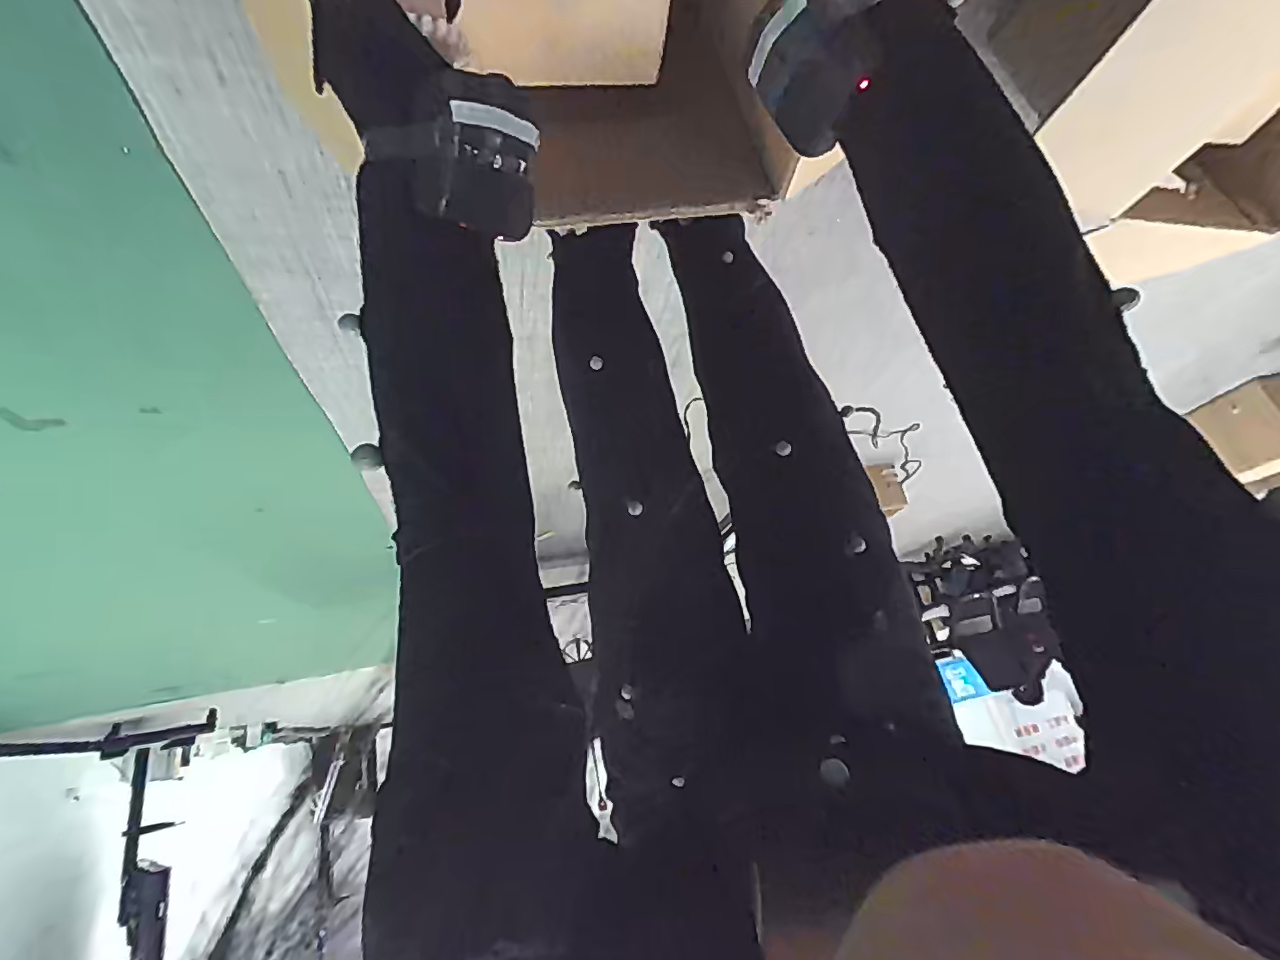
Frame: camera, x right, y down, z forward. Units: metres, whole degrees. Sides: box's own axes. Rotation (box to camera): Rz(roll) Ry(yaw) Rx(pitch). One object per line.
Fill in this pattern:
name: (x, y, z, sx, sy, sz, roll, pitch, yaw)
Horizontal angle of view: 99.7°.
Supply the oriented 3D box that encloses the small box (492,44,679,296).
small box: (-0.072, -0.367, 0.667, 0.179, 0.176, 0.168, 20, 154, -20)
